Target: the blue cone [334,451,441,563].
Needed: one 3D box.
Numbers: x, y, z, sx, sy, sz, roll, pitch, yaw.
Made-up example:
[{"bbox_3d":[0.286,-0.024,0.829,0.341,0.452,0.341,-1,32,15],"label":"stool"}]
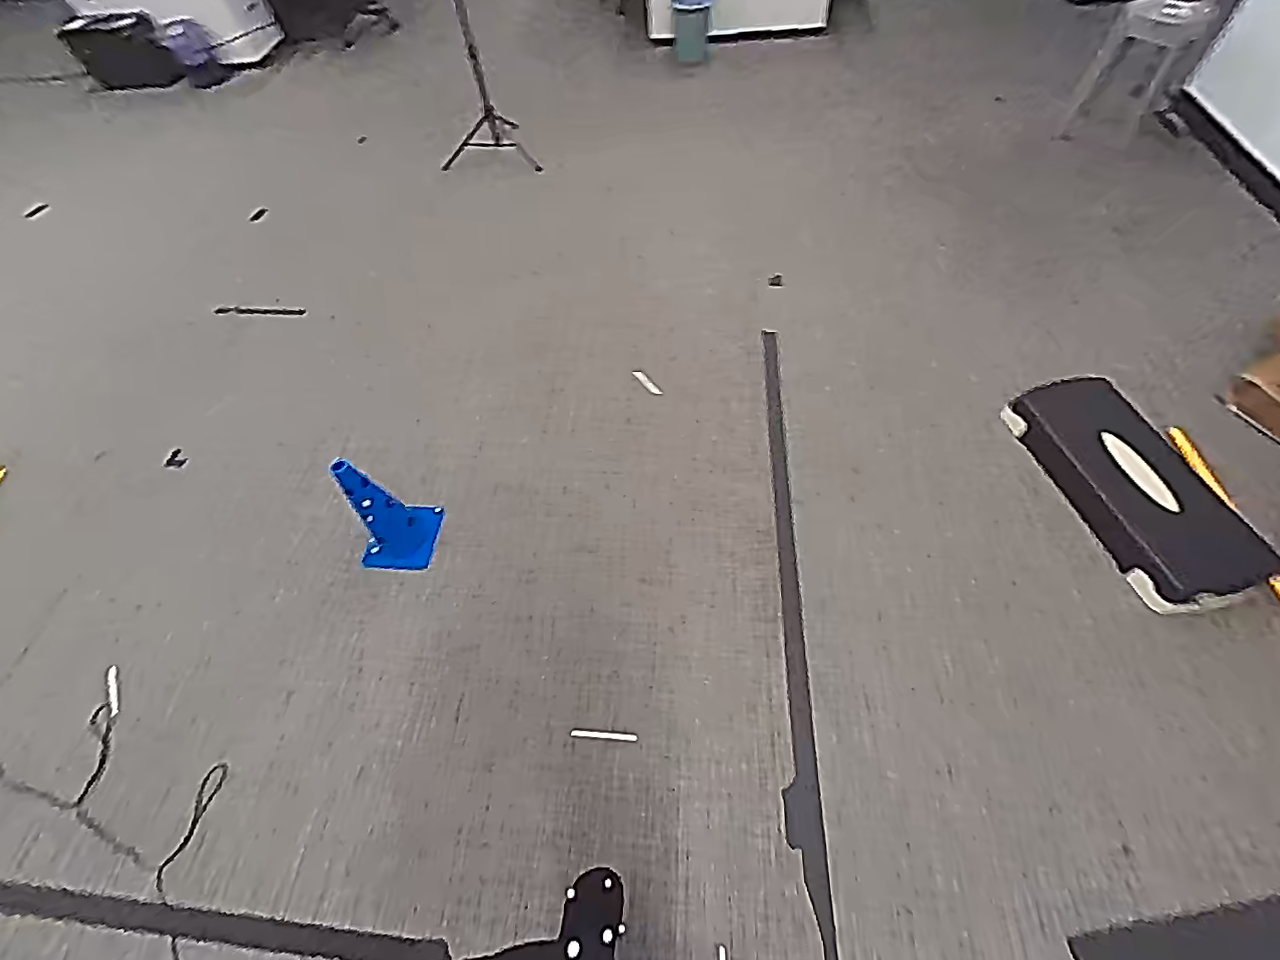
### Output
[{"bbox_3d":[-0.691,0.059,1.418,0.193,0.380,0.192,3,56,7],"label":"blue cone"}]
